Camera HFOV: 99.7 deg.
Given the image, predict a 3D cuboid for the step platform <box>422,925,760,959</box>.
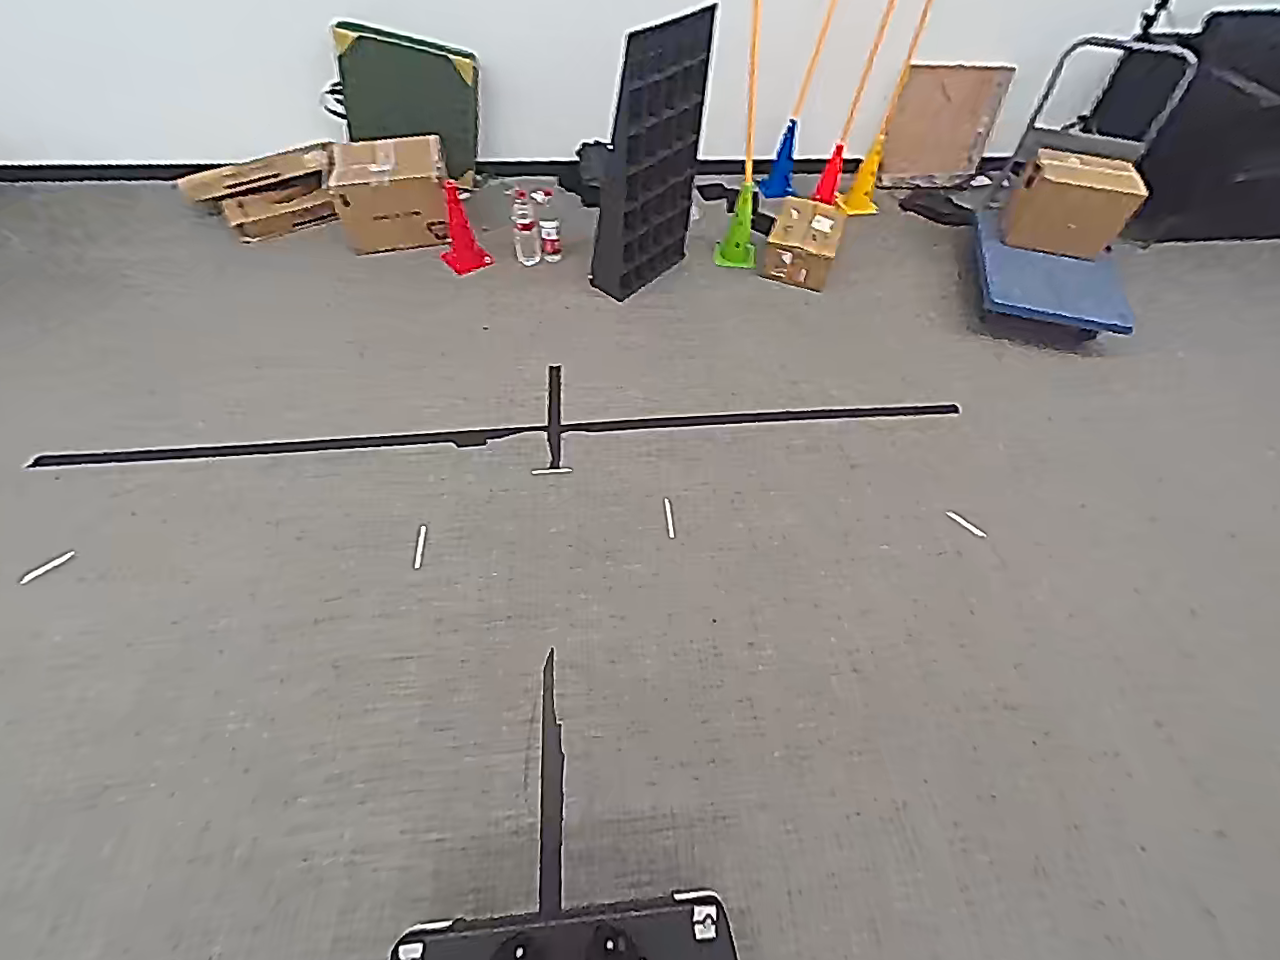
[{"bbox_3d":[-0.095,1.040,1.027,0.684,0.204,0.286,1,53,-3],"label":"step platform"}]
